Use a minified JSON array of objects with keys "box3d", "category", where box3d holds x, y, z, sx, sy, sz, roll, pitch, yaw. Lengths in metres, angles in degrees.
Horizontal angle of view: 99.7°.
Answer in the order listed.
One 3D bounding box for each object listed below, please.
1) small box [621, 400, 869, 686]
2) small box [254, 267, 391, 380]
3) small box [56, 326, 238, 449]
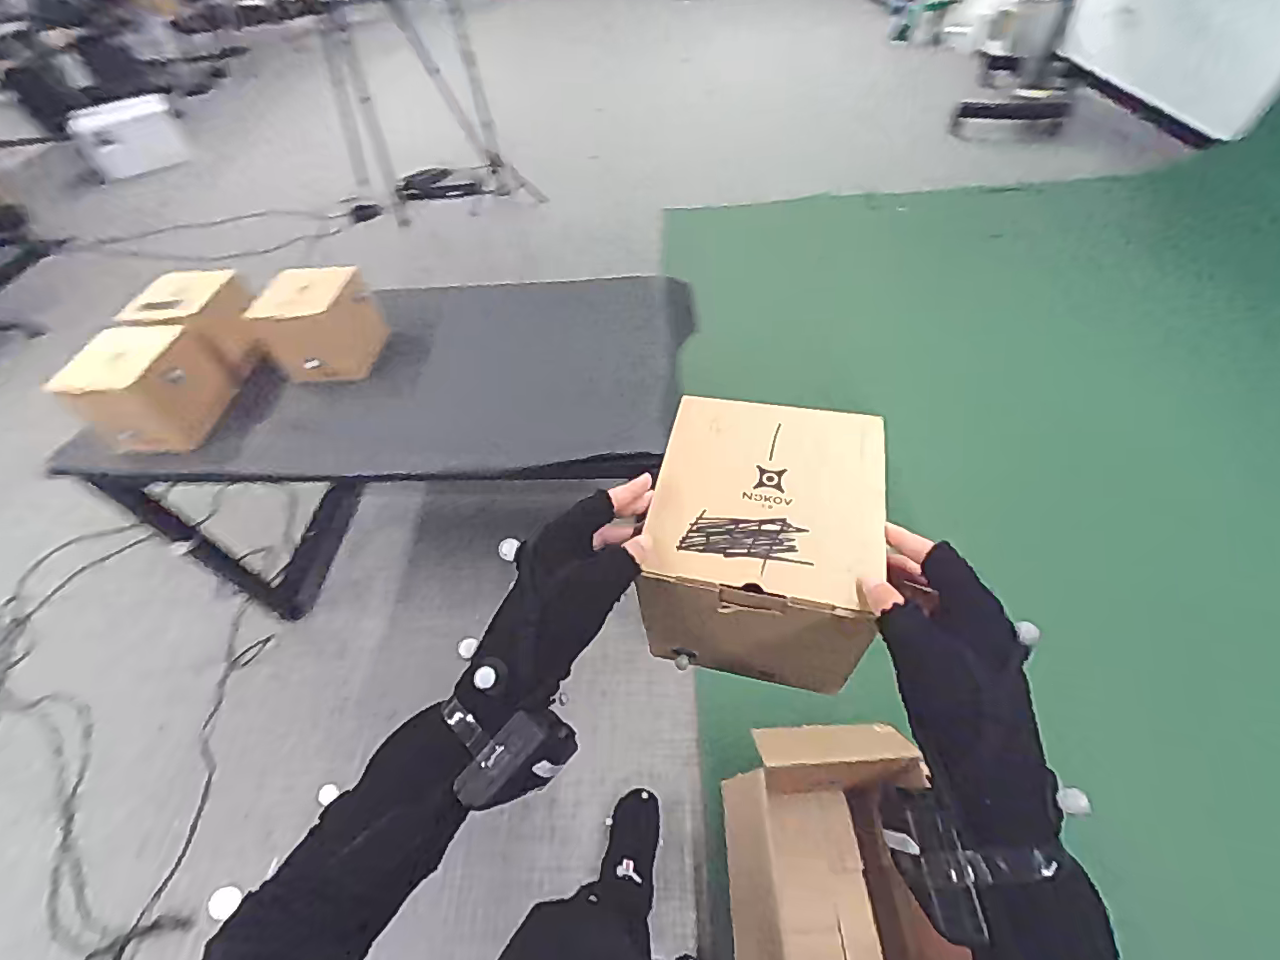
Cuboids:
[{"box3d":[0.092,0.057,0.466,0.168,0.176,0.179,8,53,12],"category":"small box"},{"box3d":[-0.665,-0.335,1.162,0.168,0.176,0.179,0,52,5],"category":"small box"},{"box3d":[-0.945,-0.182,1.063,0.168,0.176,0.179,0,52,5],"category":"small box"}]
